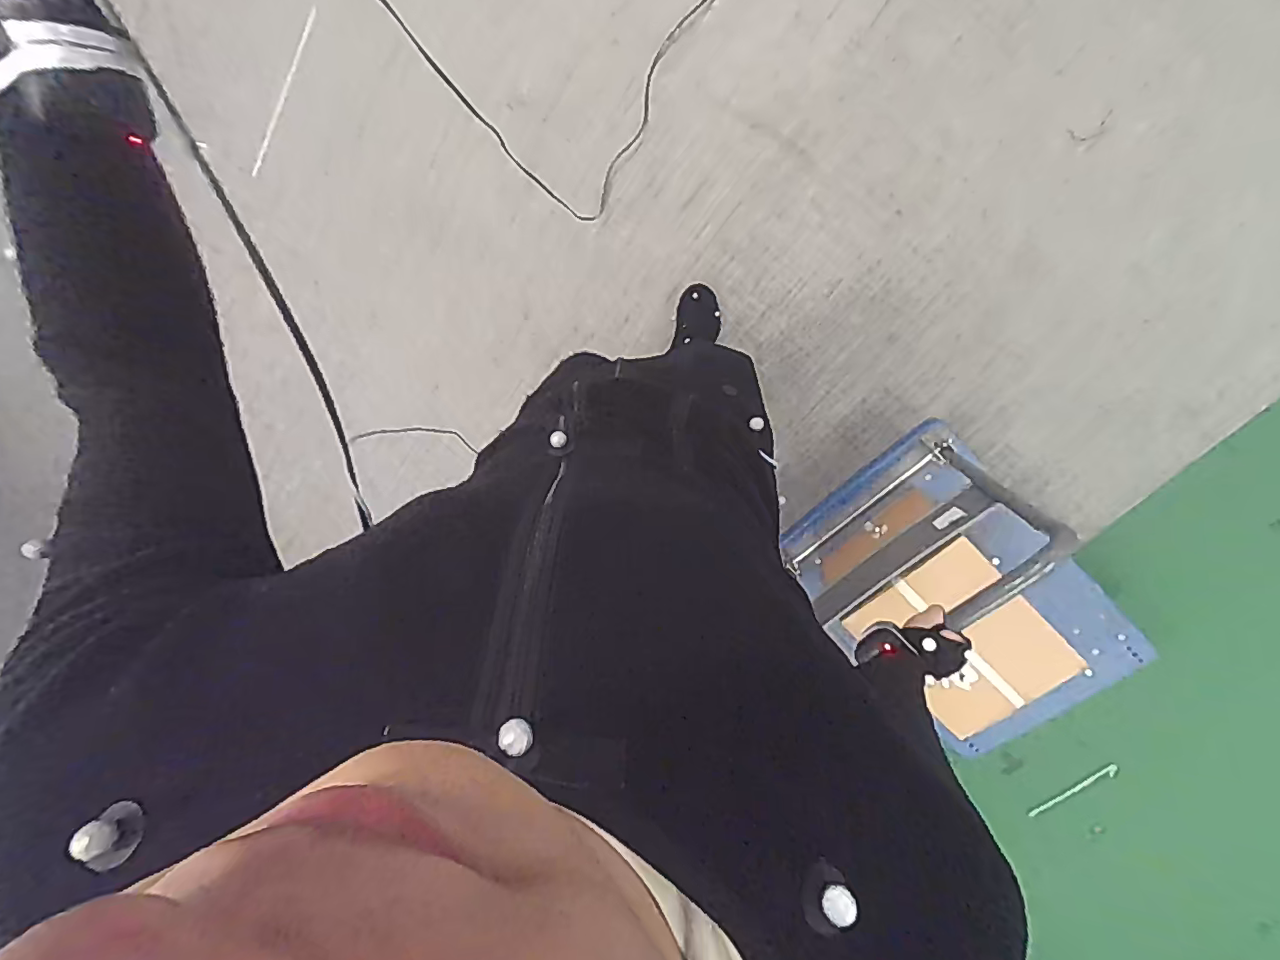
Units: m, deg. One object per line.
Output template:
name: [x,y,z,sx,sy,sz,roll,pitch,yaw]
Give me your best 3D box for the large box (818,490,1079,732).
large box: [0.699,0.295,1.300,0.408,0.320,0.320,44,110,-6]
